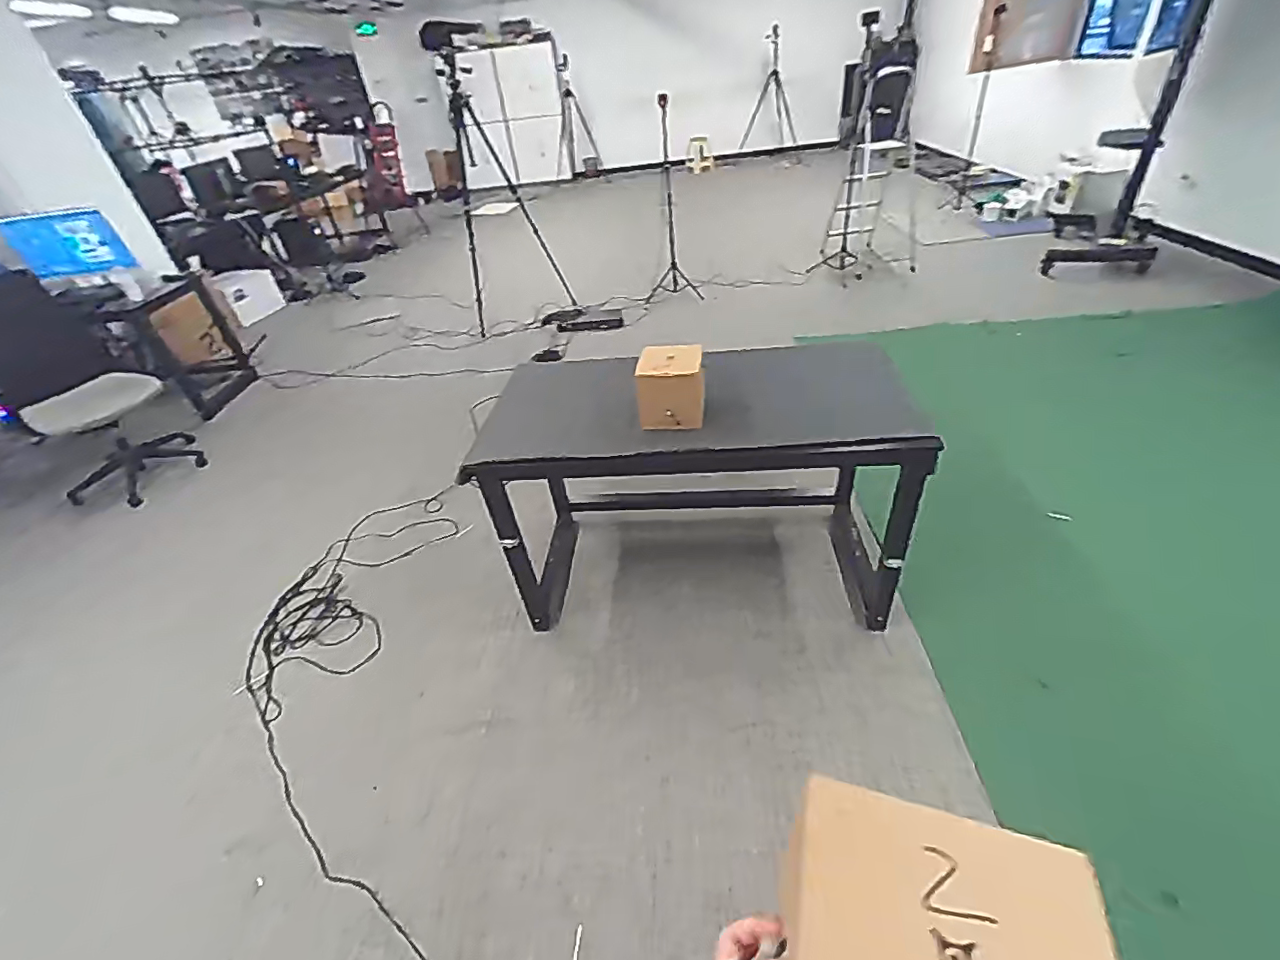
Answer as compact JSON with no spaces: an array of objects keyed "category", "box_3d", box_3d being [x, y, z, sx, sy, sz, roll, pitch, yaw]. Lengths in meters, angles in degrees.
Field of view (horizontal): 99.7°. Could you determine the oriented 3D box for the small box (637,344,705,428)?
[{"category":"small box","box_3d":[0.091,-0.258,1.481,0.168,0.176,0.179,0,38,11]}]
